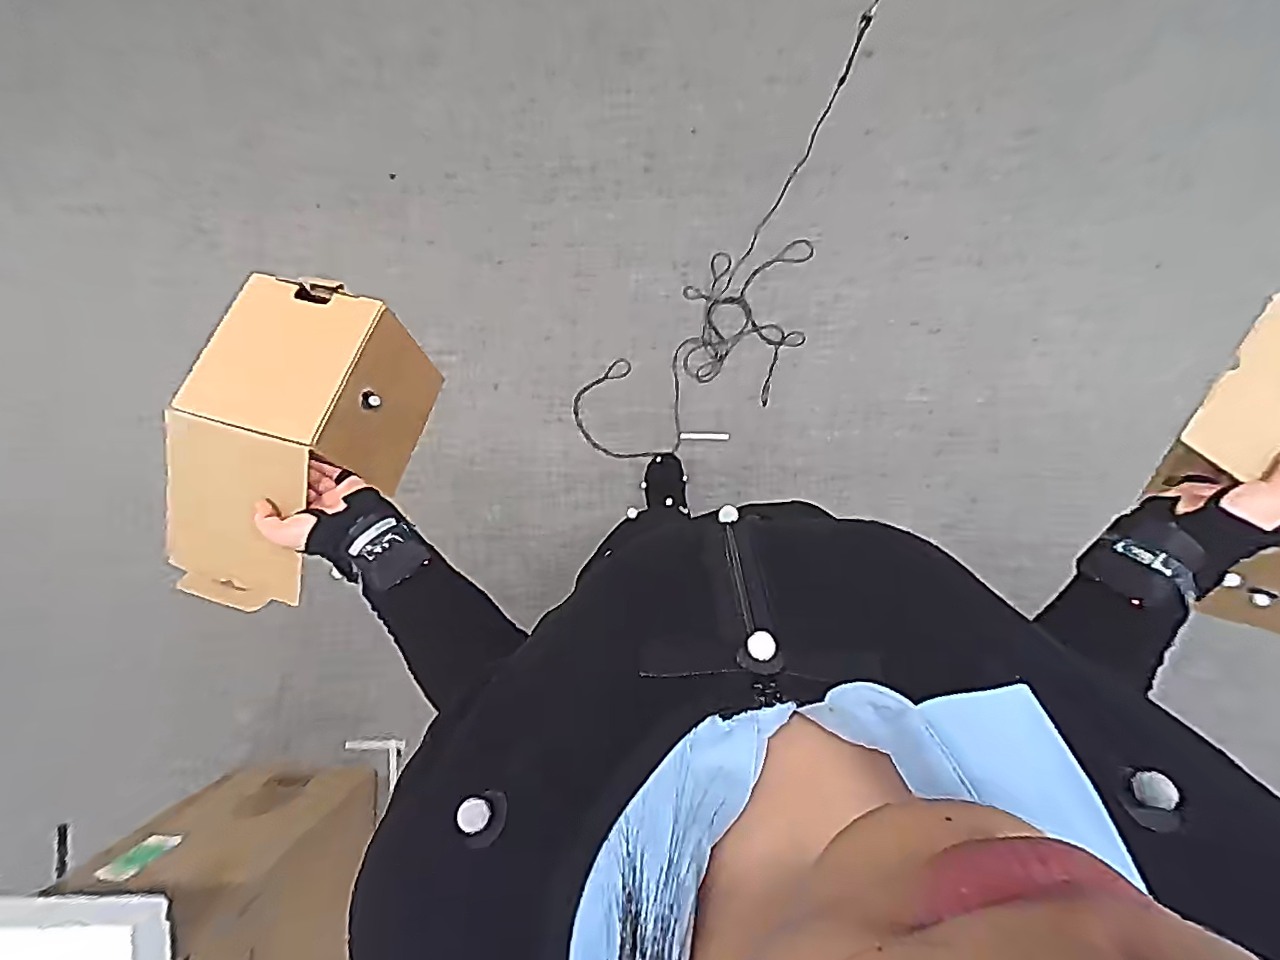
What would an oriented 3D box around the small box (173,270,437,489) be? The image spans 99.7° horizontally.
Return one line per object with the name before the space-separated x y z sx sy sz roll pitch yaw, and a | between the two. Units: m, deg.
small box | -0.367 -0.107 0.634 0.168 0.176 0.179 15 71 7
